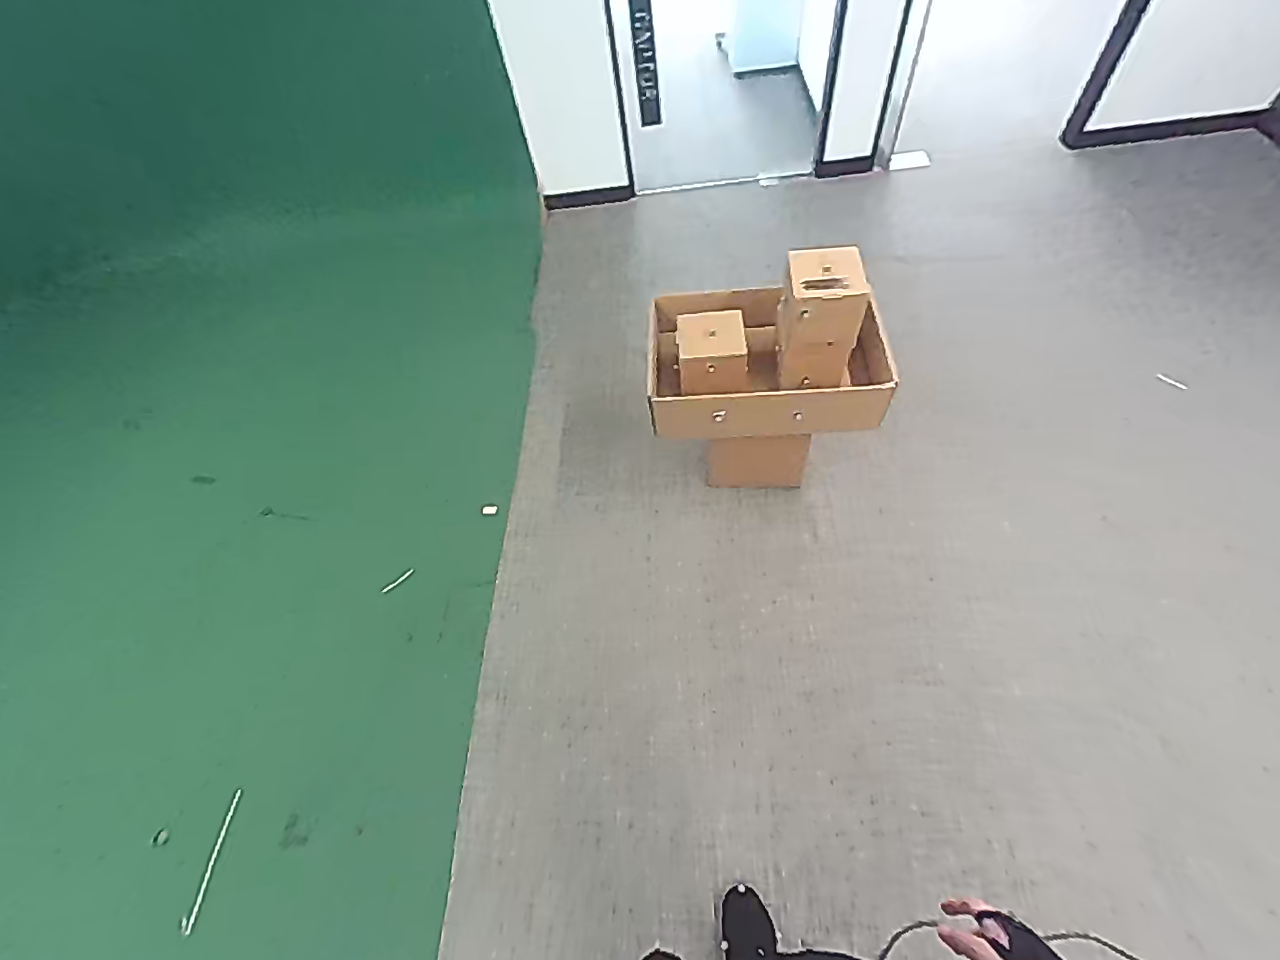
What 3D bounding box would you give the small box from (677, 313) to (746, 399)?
[{"bbox_3d":[0.196,-0.337,1.493,0.179,0.176,0.168,-2,57,5],"label":"small box"}]
